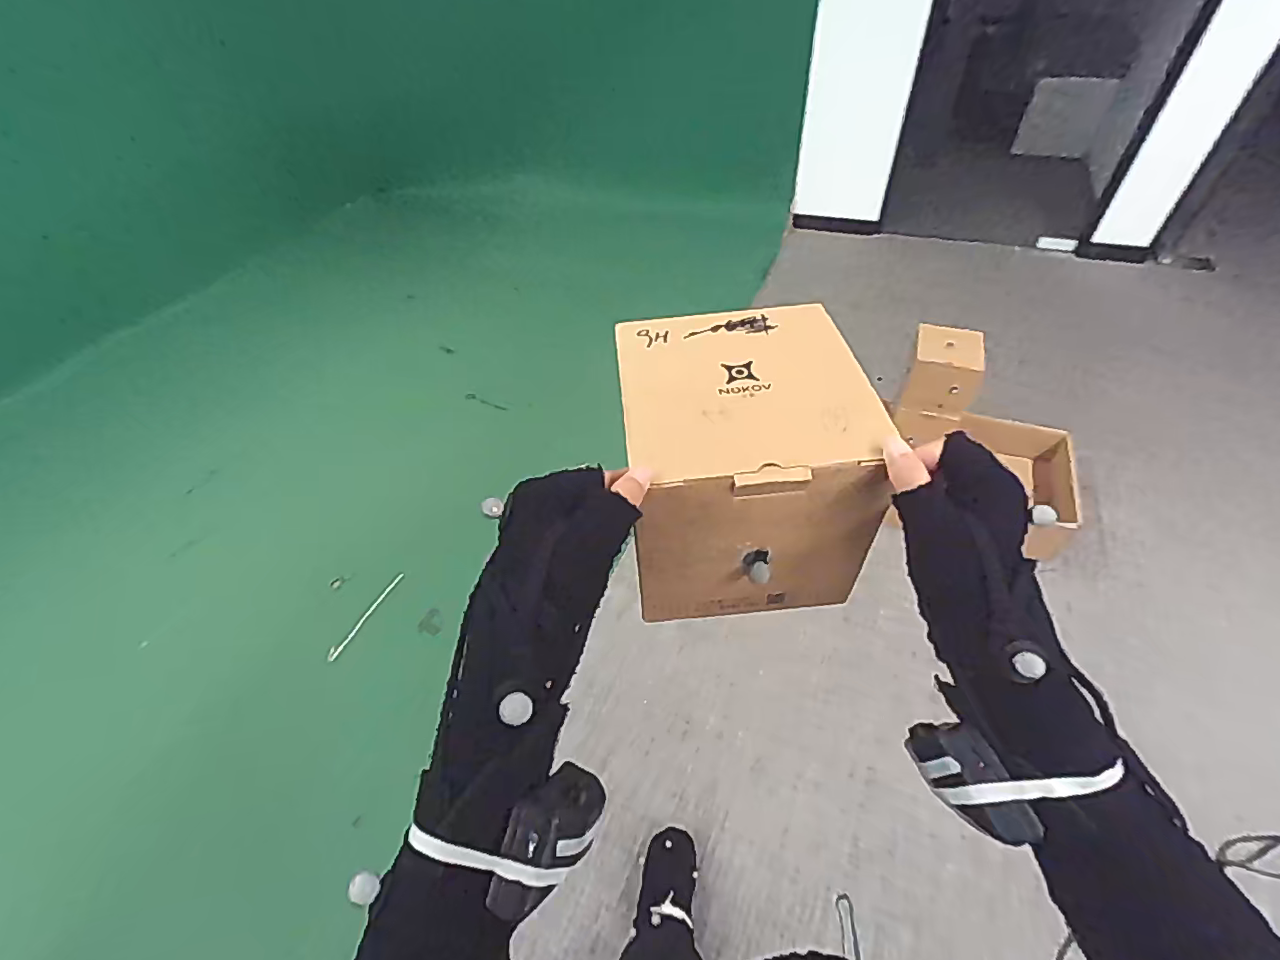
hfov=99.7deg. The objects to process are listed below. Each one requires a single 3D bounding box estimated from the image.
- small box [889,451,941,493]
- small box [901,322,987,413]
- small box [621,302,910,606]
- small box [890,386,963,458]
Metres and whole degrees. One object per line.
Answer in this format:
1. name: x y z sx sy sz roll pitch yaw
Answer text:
1. small box: 0.859 -0.089 1.742 0.168 0.176 0.179 16 52 18
2. small box: 0.840 -0.310 1.502 0.168 0.176 0.179 15 51 15
3. small box: 0.076 -0.013 0.423 0.168 0.176 0.179 -5 49 0
4. small box: 0.850 -0.197 1.621 0.168 0.176 0.179 15 52 17
